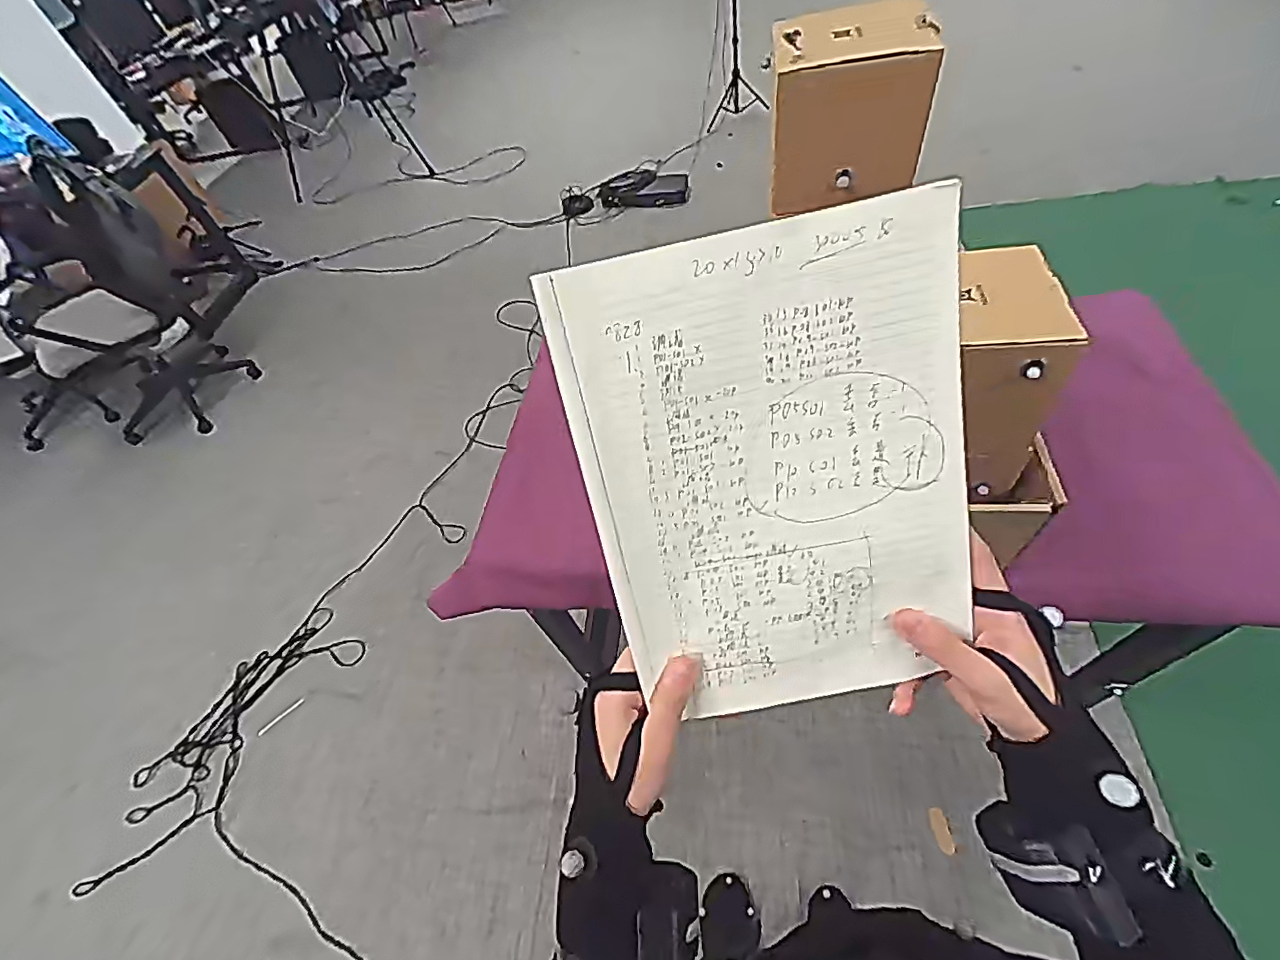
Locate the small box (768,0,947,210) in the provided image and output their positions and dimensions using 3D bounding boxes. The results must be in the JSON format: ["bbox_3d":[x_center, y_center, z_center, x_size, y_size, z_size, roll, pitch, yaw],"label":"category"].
[{"bbox_3d":[0.260,-0.473,0.695,0.179,0.176,0.168,0,54,10],"label":"small box"}]

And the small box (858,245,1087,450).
[{"bbox_3d":[0.360,-0.147,0.632,0.179,0.176,0.168,0,52,12],"label":"small box"}]

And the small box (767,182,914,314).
[{"bbox_3d":[0.289,-0.374,0.823,0.179,0.176,0.168,-2,54,10],"label":"small box"}]
